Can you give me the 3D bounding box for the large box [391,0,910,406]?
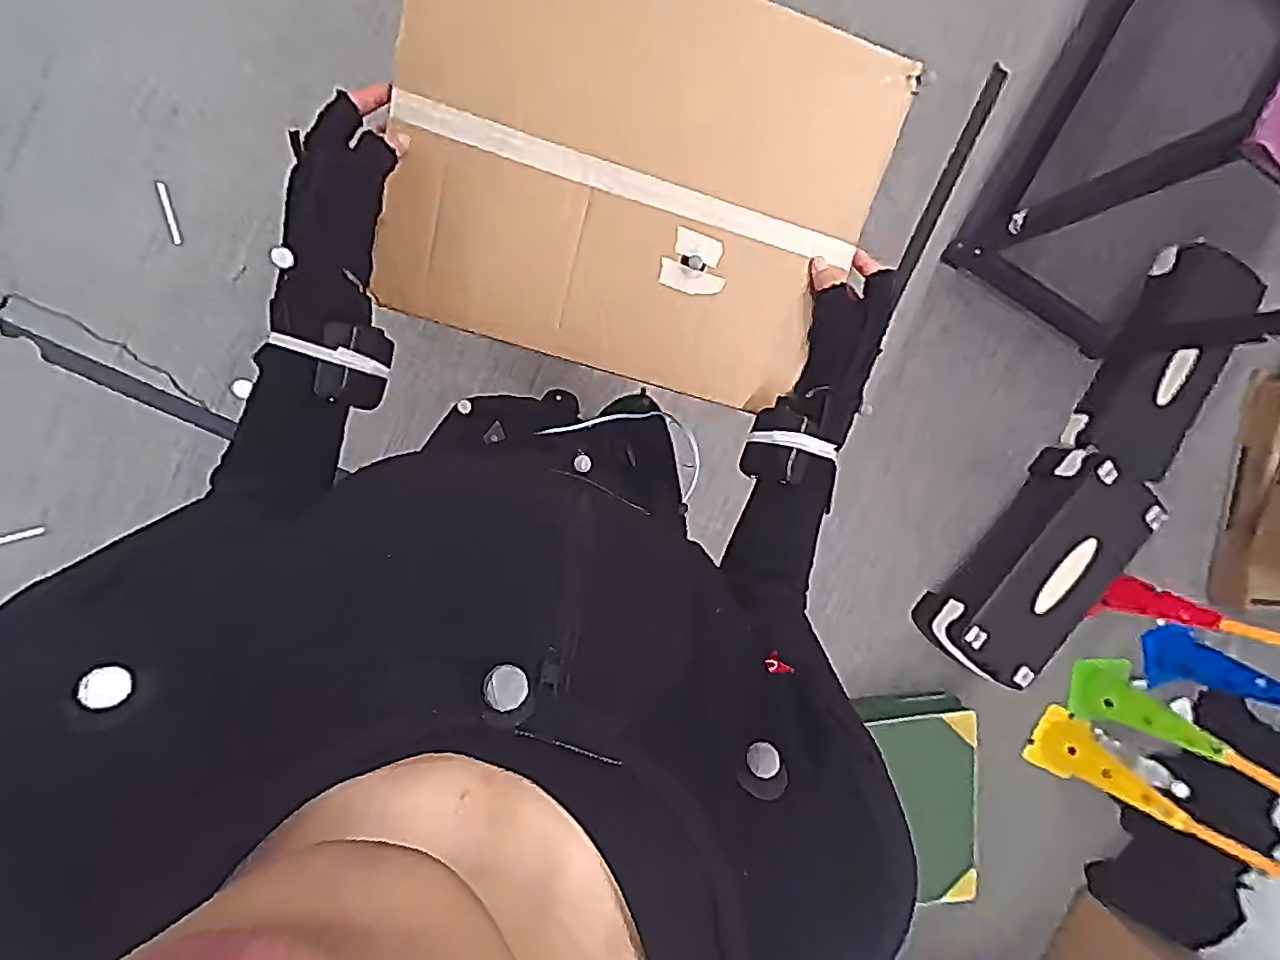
[{"bbox_3d":[-0.010,-0.305,0.616,0.408,0.320,0.320,15,107,-9],"label":"large box"}]
